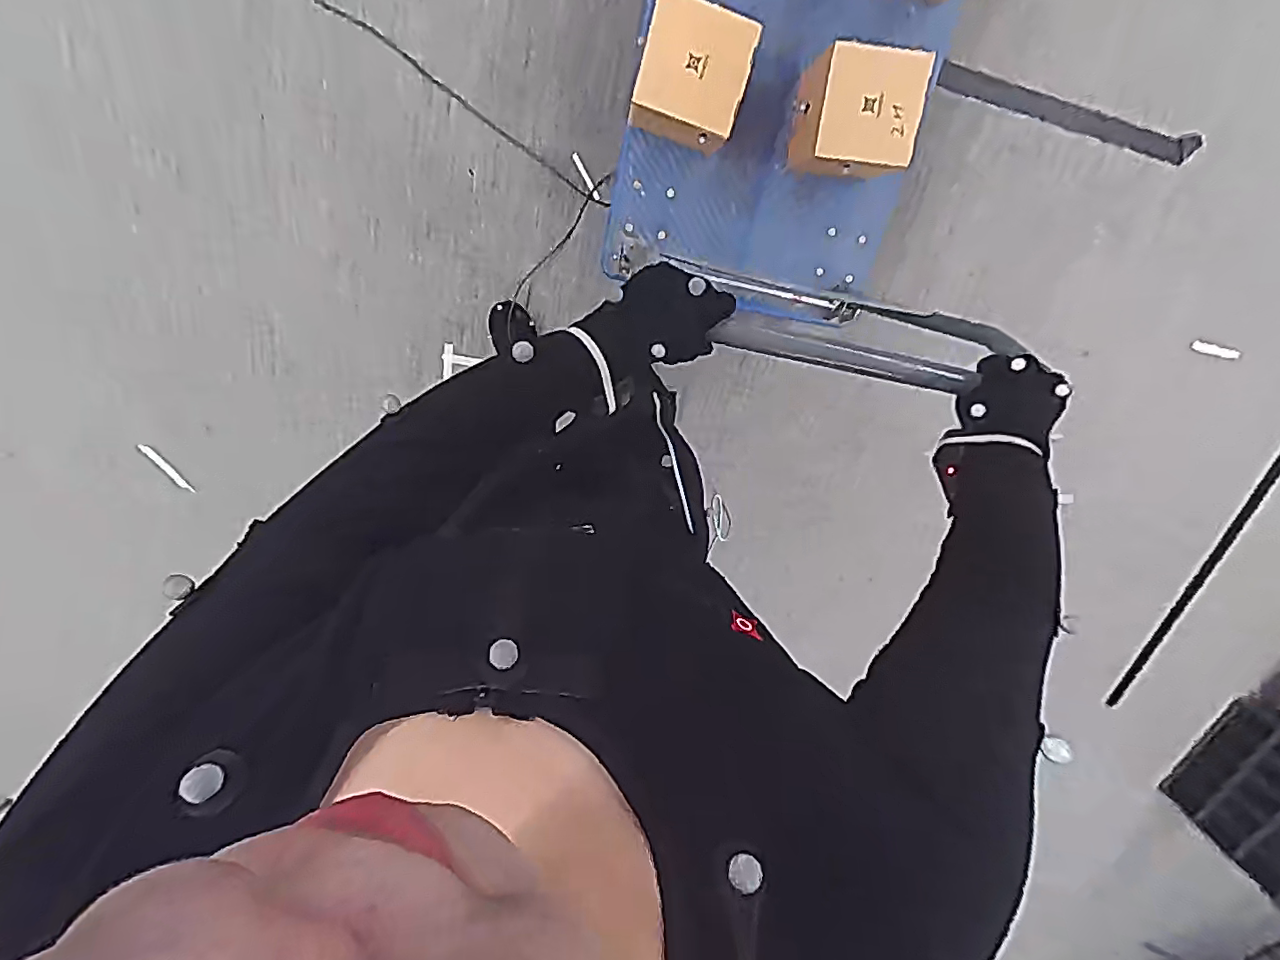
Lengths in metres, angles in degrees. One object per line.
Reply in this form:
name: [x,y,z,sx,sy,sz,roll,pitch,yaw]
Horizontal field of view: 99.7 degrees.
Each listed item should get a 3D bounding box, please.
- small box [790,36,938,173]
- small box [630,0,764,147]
small box: [0.390,-0.665,0.979,0.179,0.176,0.168,4,113,-5]
small box: [0.087,-0.709,0.945,0.179,0.176,0.168,13,112,-10]
